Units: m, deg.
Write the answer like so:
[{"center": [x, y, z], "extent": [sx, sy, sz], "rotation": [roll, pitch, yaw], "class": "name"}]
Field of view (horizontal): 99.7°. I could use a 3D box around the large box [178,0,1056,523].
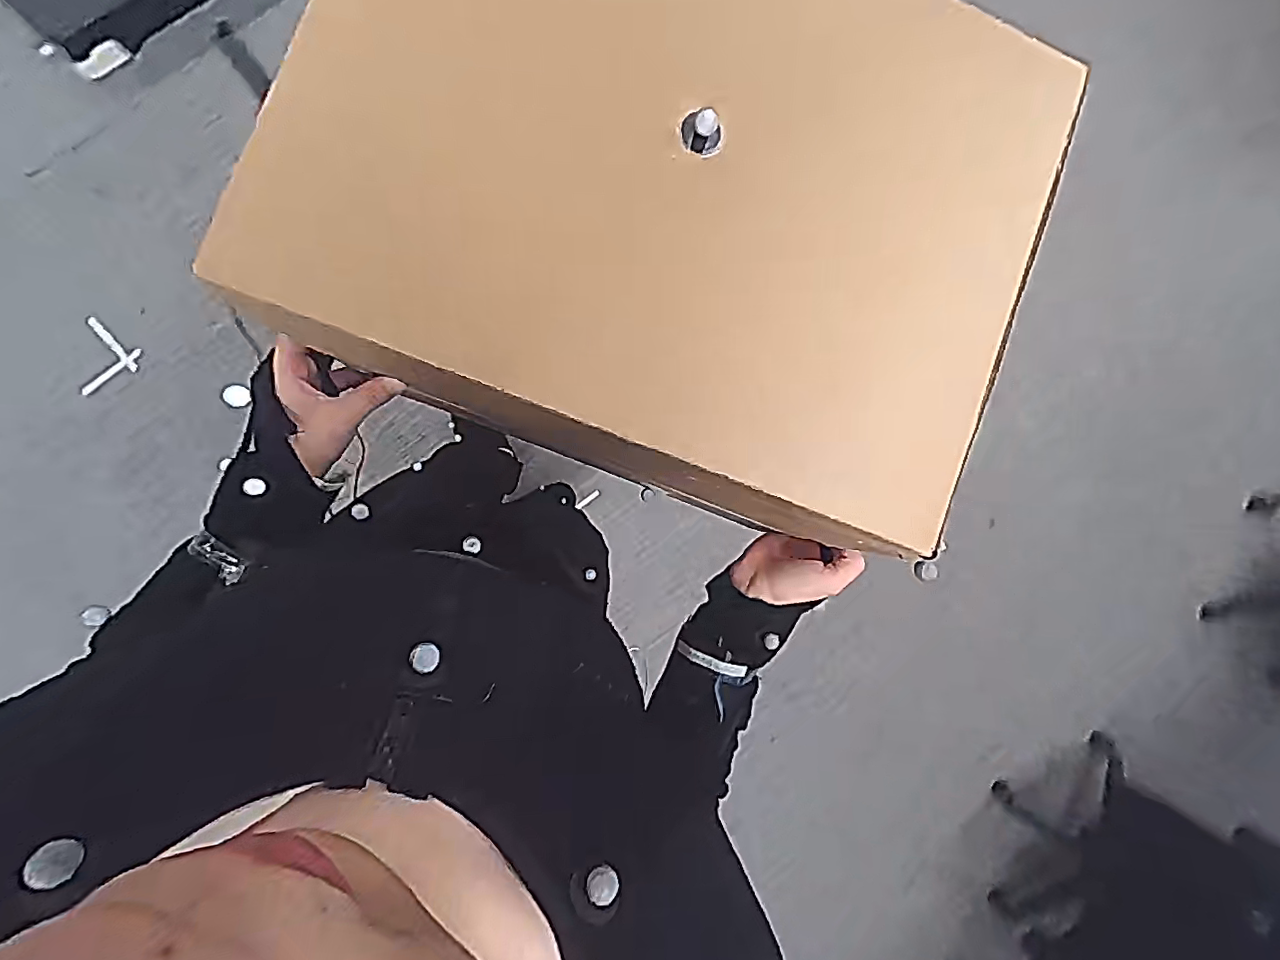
[{"center": [-0.007, -0.180, 0.428], "extent": [0.408, 0.320, 0.320], "rotation": [18, 89, -5], "class": "large box"}]
